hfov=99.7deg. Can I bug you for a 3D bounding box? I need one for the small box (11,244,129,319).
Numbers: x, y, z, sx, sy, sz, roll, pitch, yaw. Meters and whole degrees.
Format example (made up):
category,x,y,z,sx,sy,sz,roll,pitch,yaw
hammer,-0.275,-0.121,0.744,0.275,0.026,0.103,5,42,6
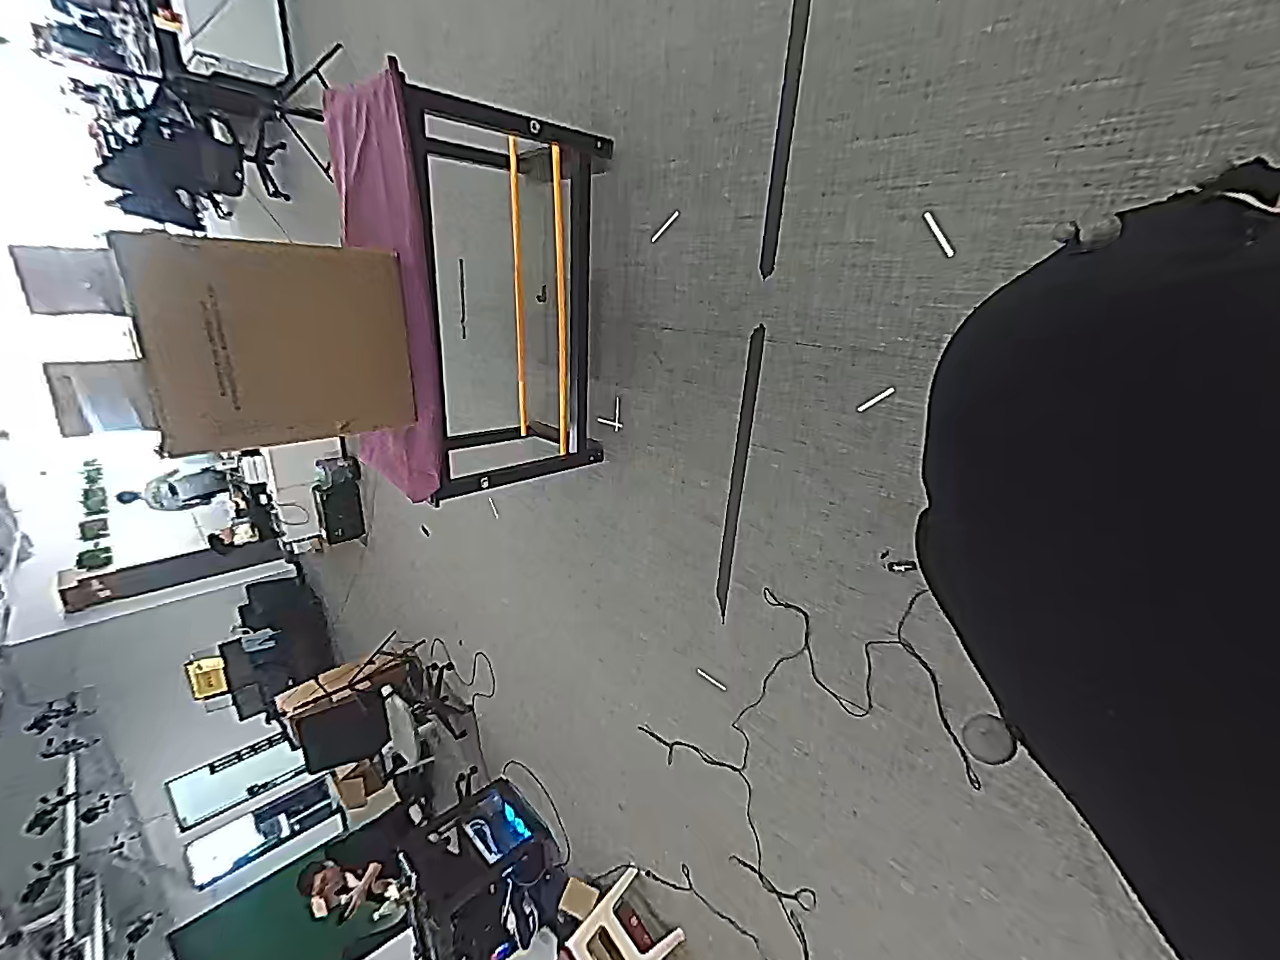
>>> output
category,x,y,z,sx,sy,sz,roll,pitch,yaw
small box,-1.414,-0.496,1.352,0.179,0.176,0.168,22,118,42
